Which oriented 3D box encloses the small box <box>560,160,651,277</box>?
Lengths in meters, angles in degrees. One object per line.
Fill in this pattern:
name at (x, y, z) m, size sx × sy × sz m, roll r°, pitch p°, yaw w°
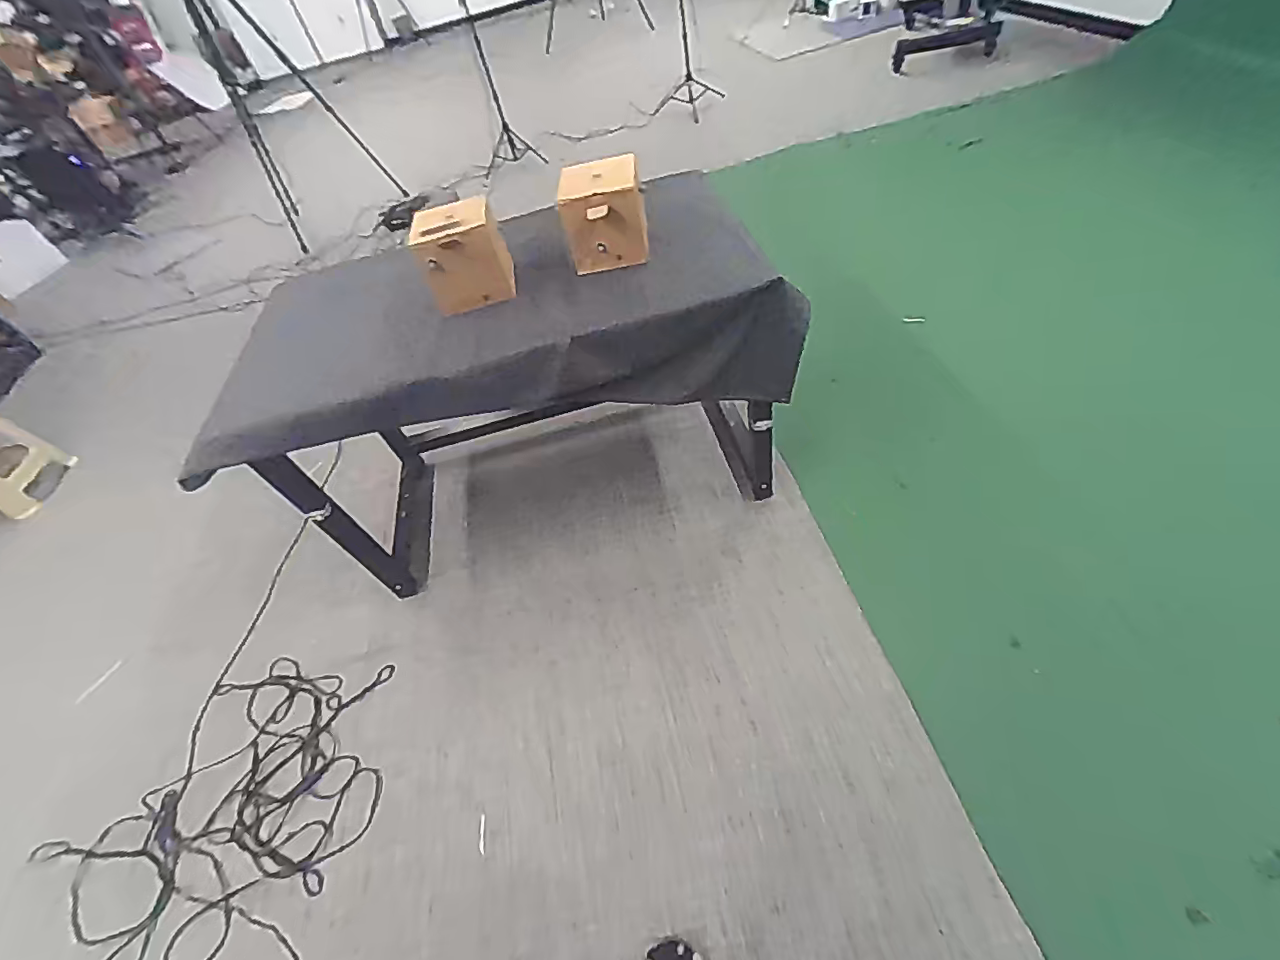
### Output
small box at (-0.071, -0.583, 1.212) m, size 0.168 × 0.176 × 0.179 m, roll -7°, pitch 50°, yaw 8°
